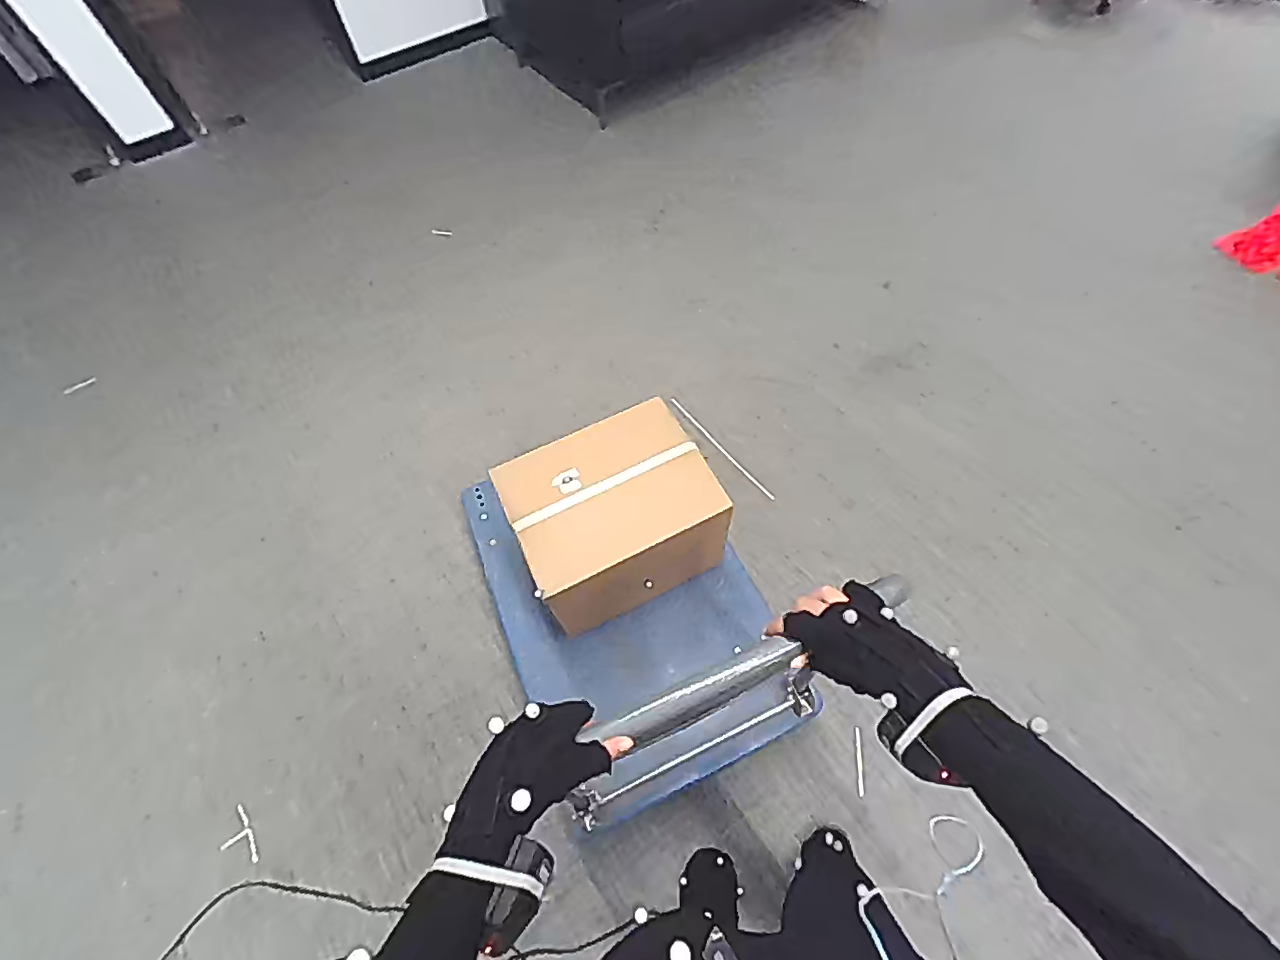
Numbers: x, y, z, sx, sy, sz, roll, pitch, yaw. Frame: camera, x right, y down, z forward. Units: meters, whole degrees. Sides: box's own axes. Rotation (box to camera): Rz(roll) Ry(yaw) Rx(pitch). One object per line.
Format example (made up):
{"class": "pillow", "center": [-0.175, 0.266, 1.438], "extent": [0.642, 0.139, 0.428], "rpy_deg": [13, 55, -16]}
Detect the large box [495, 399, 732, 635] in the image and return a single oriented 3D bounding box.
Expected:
{"class": "large box", "center": [-0.050, 0.091, 1.222], "extent": [0.408, 0.320, 0.320], "rpy_deg": [-26, 62, -10]}
